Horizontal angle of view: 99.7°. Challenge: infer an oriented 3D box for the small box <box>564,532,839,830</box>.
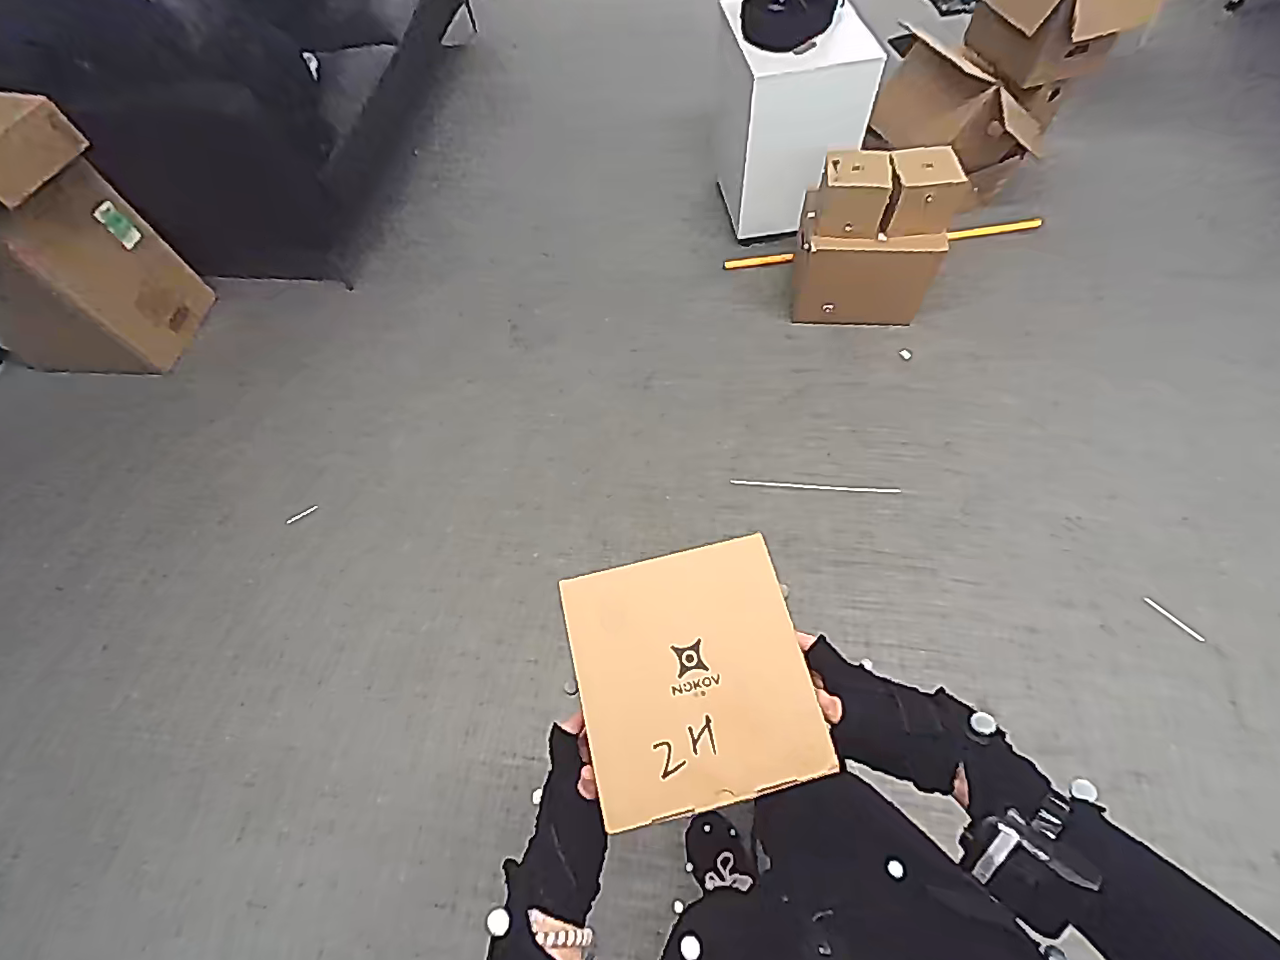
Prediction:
[{"bbox_3d":[0.037,0.163,0.461,0.168,0.176,0.179,-12,70,-4],"label":"small box"}]
